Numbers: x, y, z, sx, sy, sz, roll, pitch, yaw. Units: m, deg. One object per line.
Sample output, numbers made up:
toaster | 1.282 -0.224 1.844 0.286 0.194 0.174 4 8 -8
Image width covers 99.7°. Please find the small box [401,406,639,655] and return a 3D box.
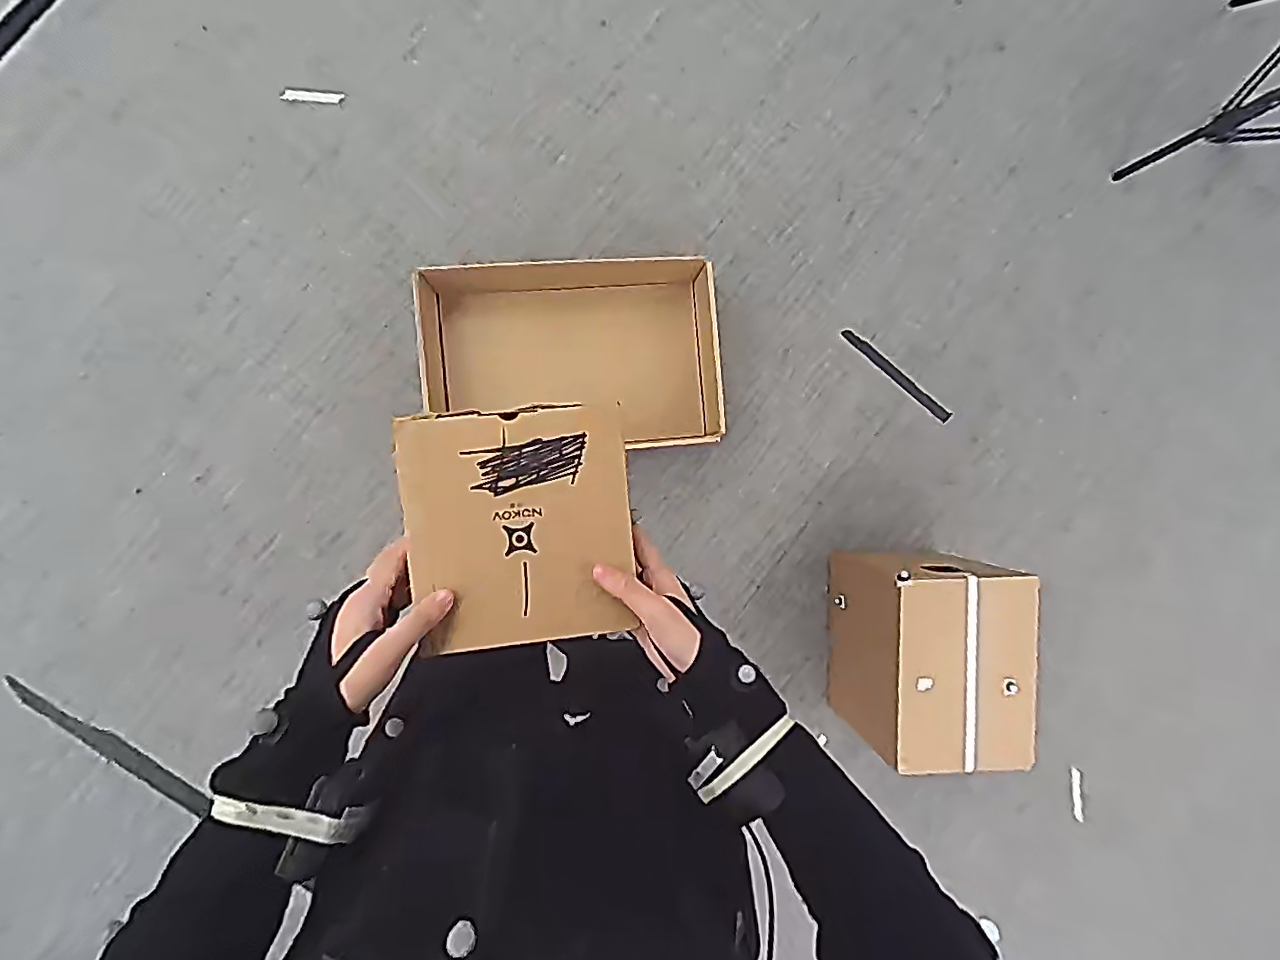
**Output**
small box | -0.097 0.034 0.481 0.168 0.176 0.179 -5 93 -6
